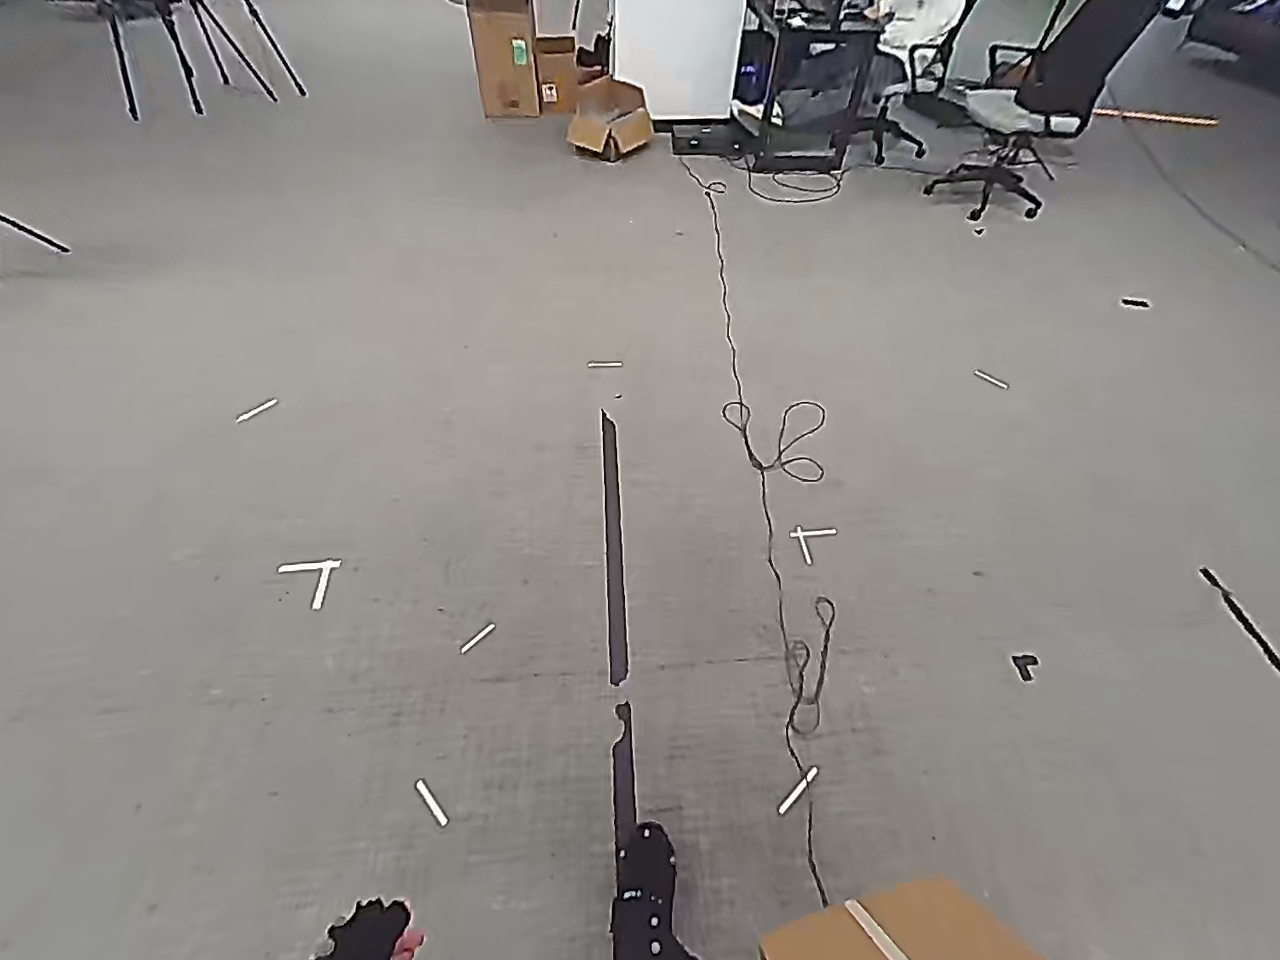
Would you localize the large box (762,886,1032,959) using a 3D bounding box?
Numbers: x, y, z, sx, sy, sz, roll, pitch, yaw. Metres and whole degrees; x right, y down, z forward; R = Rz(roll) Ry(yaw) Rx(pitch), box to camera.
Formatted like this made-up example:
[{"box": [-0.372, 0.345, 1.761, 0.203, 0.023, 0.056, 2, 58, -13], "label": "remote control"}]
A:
[{"box": [0.380, 0.773, 0.618, 0.320, 0.408, 0.320, -10, 80, -9], "label": "large box"}]
